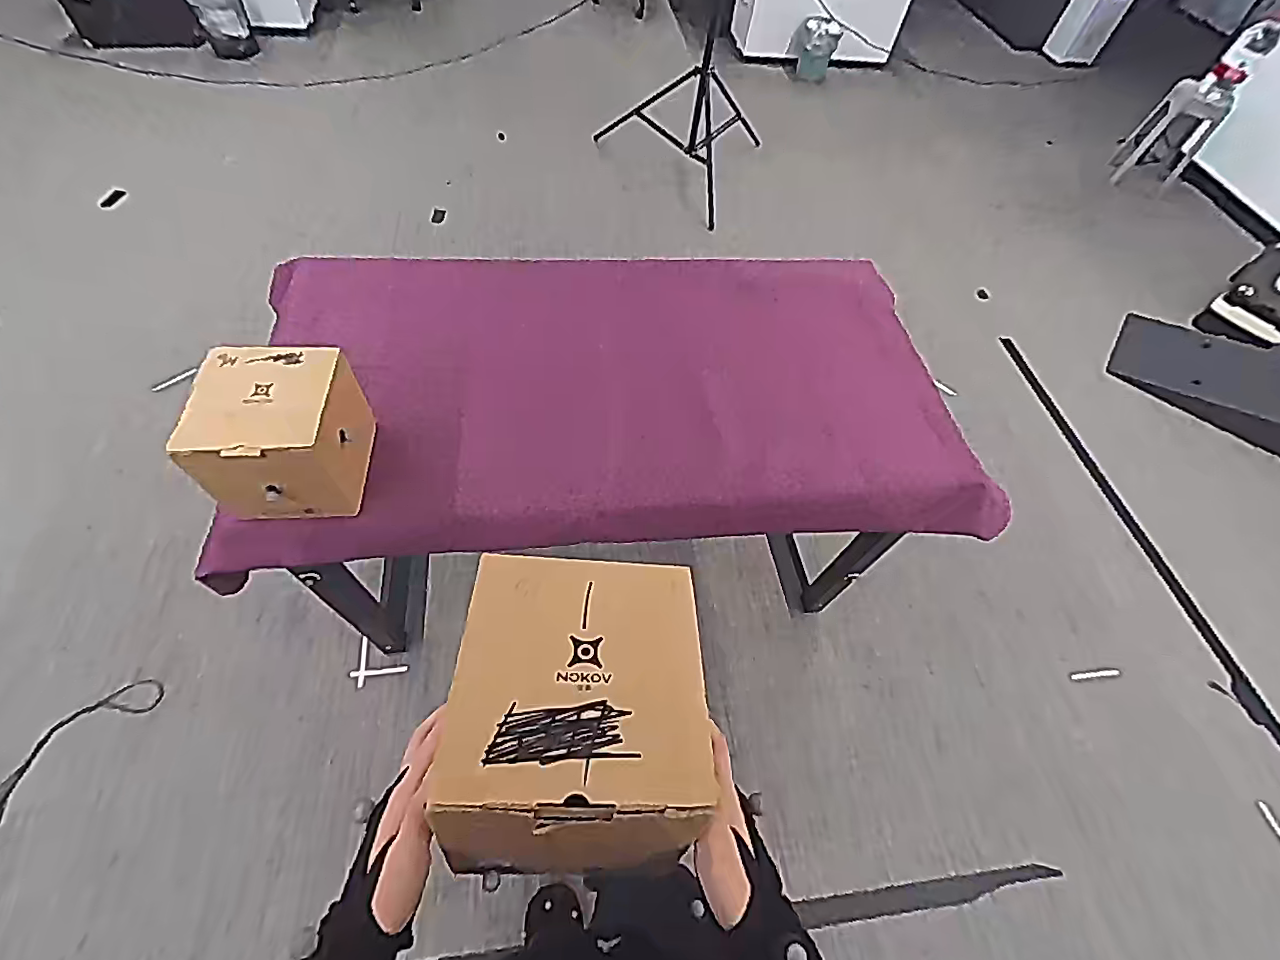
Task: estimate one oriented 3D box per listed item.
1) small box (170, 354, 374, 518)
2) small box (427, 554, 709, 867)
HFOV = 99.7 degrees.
[{"bbox_3d":[-0.491,-0.055,0.757,0.168,0.176,0.179,-2,58,-8],"label":"small box"},{"bbox_3d":[-0.050,0.182,0.422,0.168,0.176,0.179,5,42,-7],"label":"small box"}]
